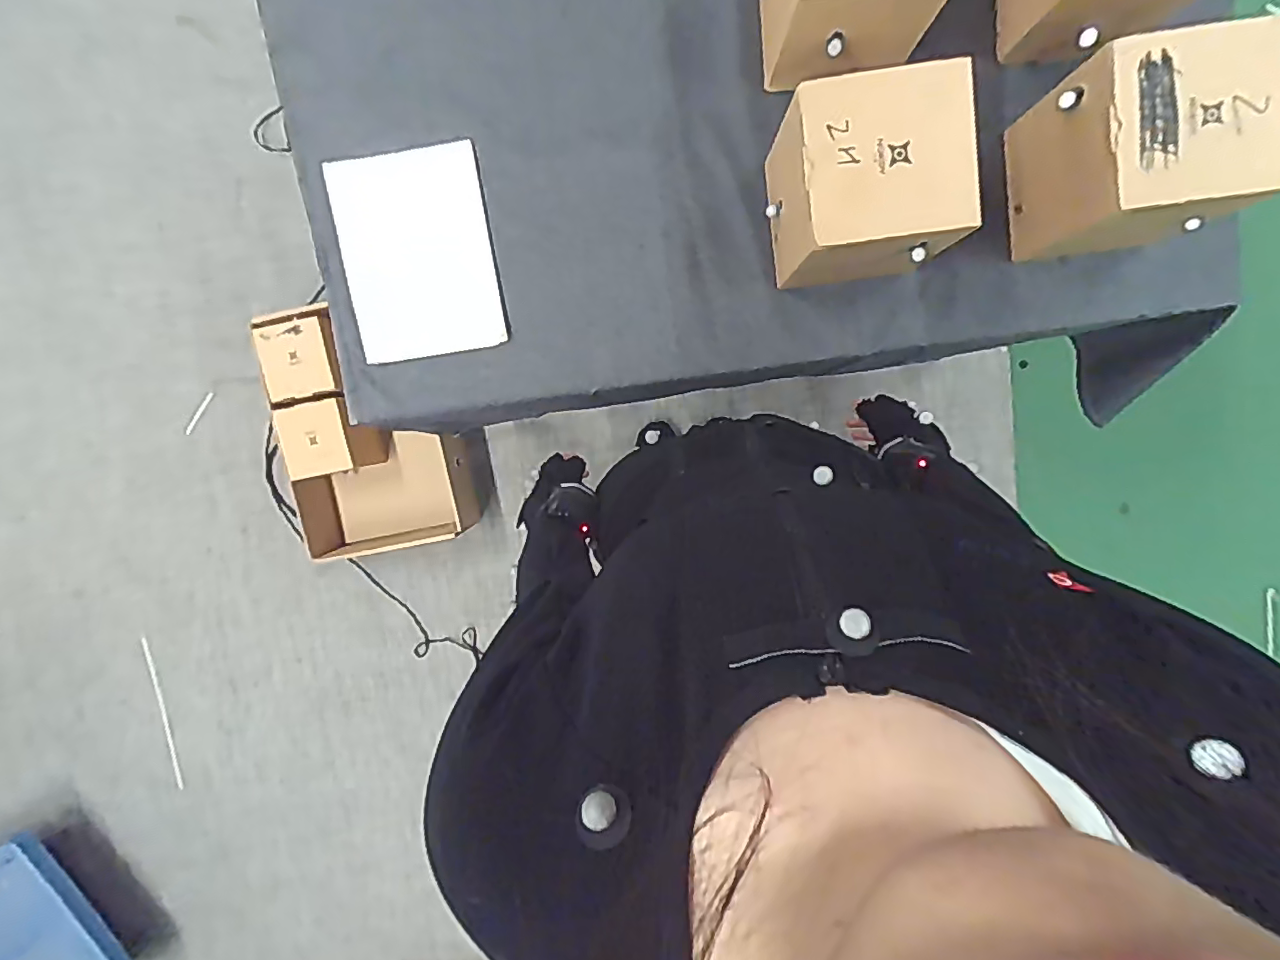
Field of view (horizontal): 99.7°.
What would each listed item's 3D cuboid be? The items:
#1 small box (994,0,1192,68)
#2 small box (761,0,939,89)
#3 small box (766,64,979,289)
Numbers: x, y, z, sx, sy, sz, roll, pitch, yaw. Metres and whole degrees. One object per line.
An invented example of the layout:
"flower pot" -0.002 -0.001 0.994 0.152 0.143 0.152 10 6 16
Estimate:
"small box" 0.523 -0.606 0.597 0.168 0.176 0.179 -4 96 3
"small box" 0.235 -0.579 0.612 0.168 0.176 0.179 -4 95 2
"small box" 0.257 -0.335 0.632 0.179 0.176 0.168 -7 94 3
